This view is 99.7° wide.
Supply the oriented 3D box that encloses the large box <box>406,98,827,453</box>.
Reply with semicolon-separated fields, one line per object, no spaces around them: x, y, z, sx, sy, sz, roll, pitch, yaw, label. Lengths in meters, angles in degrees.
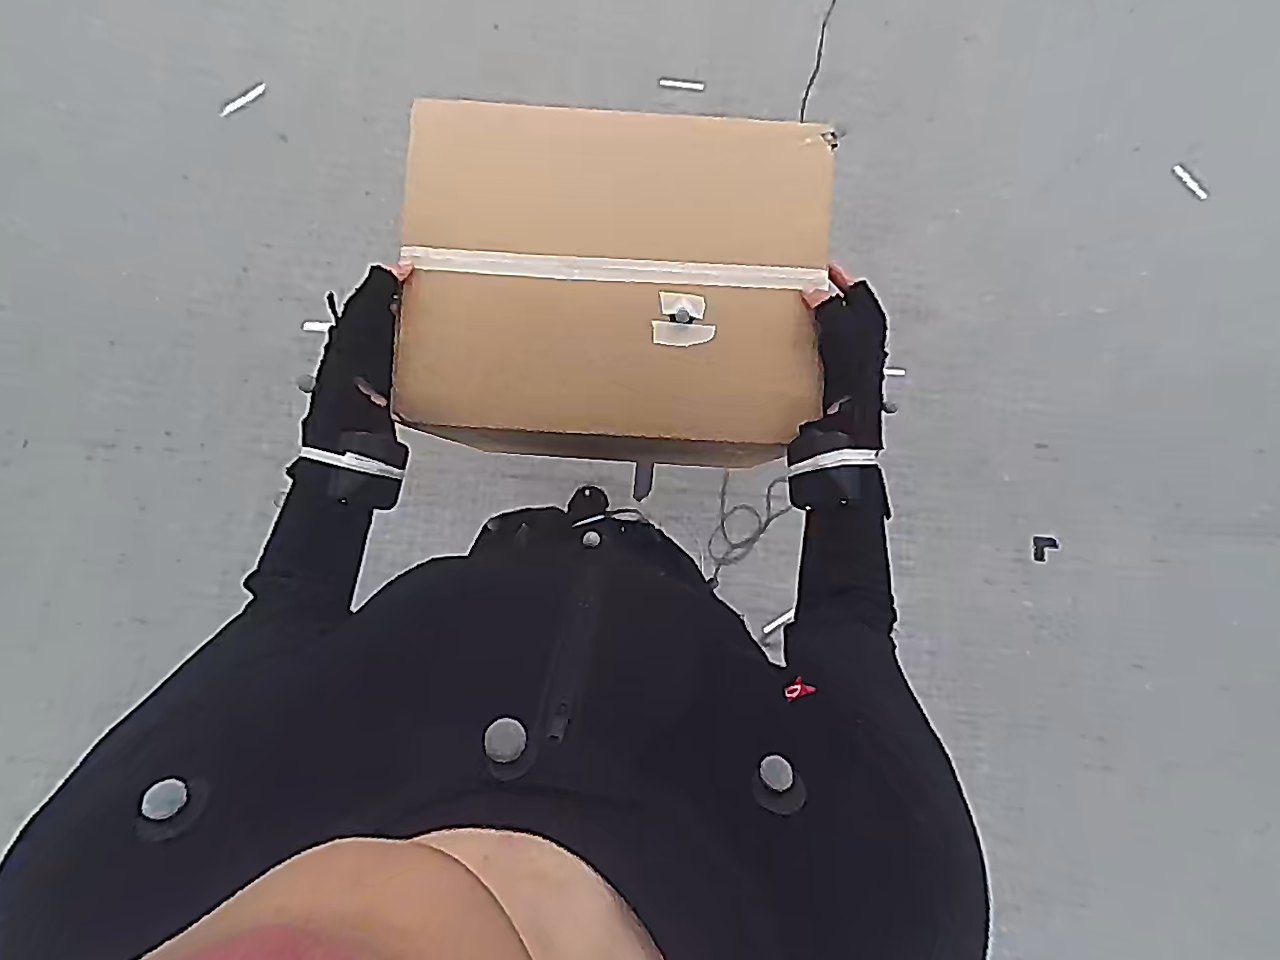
-0.025;-0.206;0.675;0.408;0.320;0.320;4;89;-1;large box
